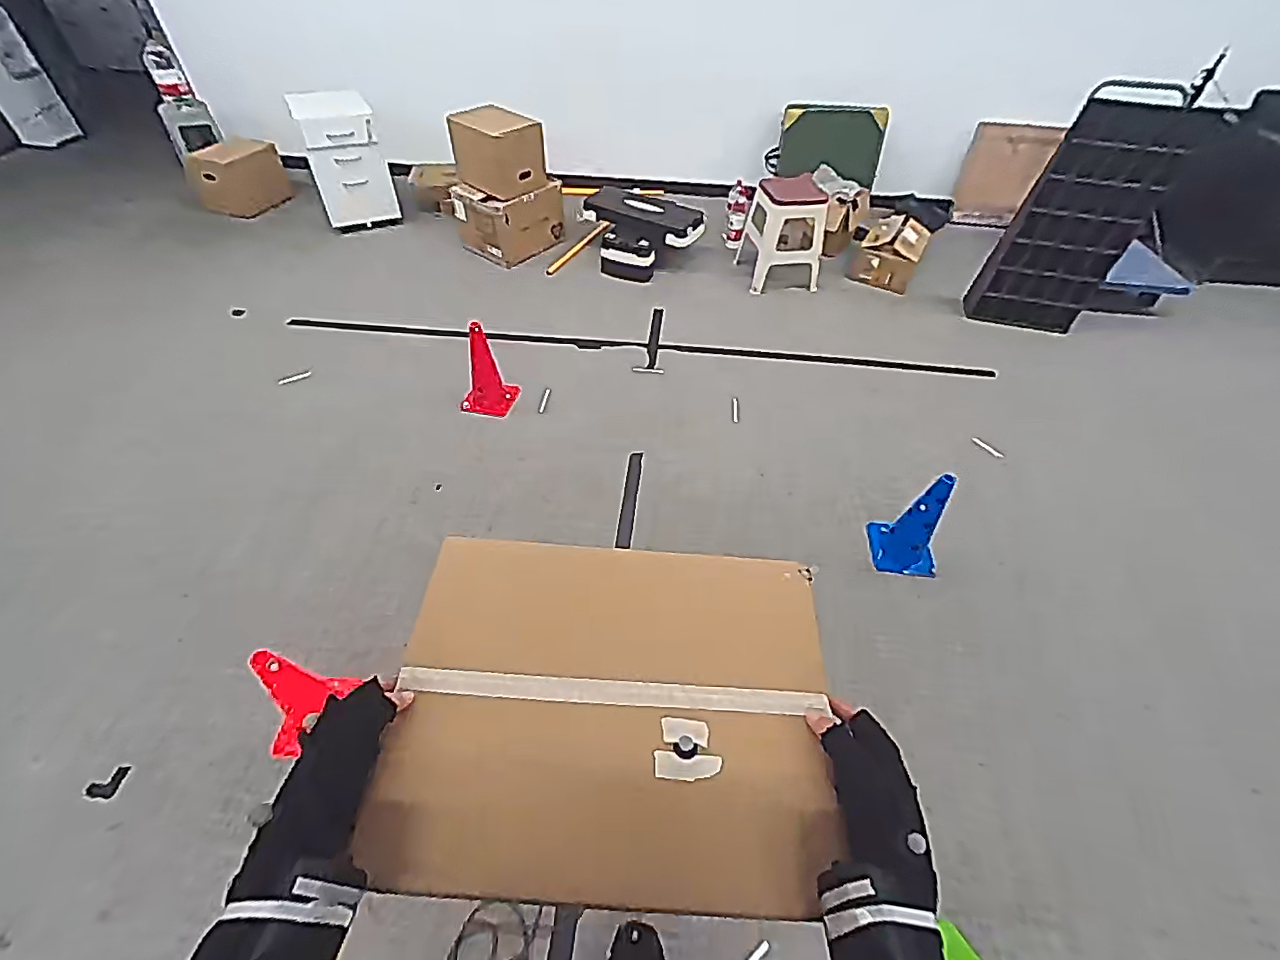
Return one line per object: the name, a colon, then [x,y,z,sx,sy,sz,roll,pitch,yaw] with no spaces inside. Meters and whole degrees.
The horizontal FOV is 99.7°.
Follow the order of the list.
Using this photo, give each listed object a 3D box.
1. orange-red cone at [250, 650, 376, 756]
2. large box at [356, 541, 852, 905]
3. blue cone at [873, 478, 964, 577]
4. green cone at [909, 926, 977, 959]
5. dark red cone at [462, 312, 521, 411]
orange-red cone: [-0.803,0.491,1.268,0.198,0.360,0.199,3,49,1]
large box: [-0.031,0.293,0.634,0.408,0.320,0.320,5,52,-1]
blue cone: [0.896,0.129,1.697,0.192,0.380,0.193,9,48,4]
green cone: [0.635,0.926,0.937,0.202,0.368,0.200,-23,53,-23]
dark red cone: [-0.605,-0.471,2.119,0.201,0.394,0.202,11,48,5]
